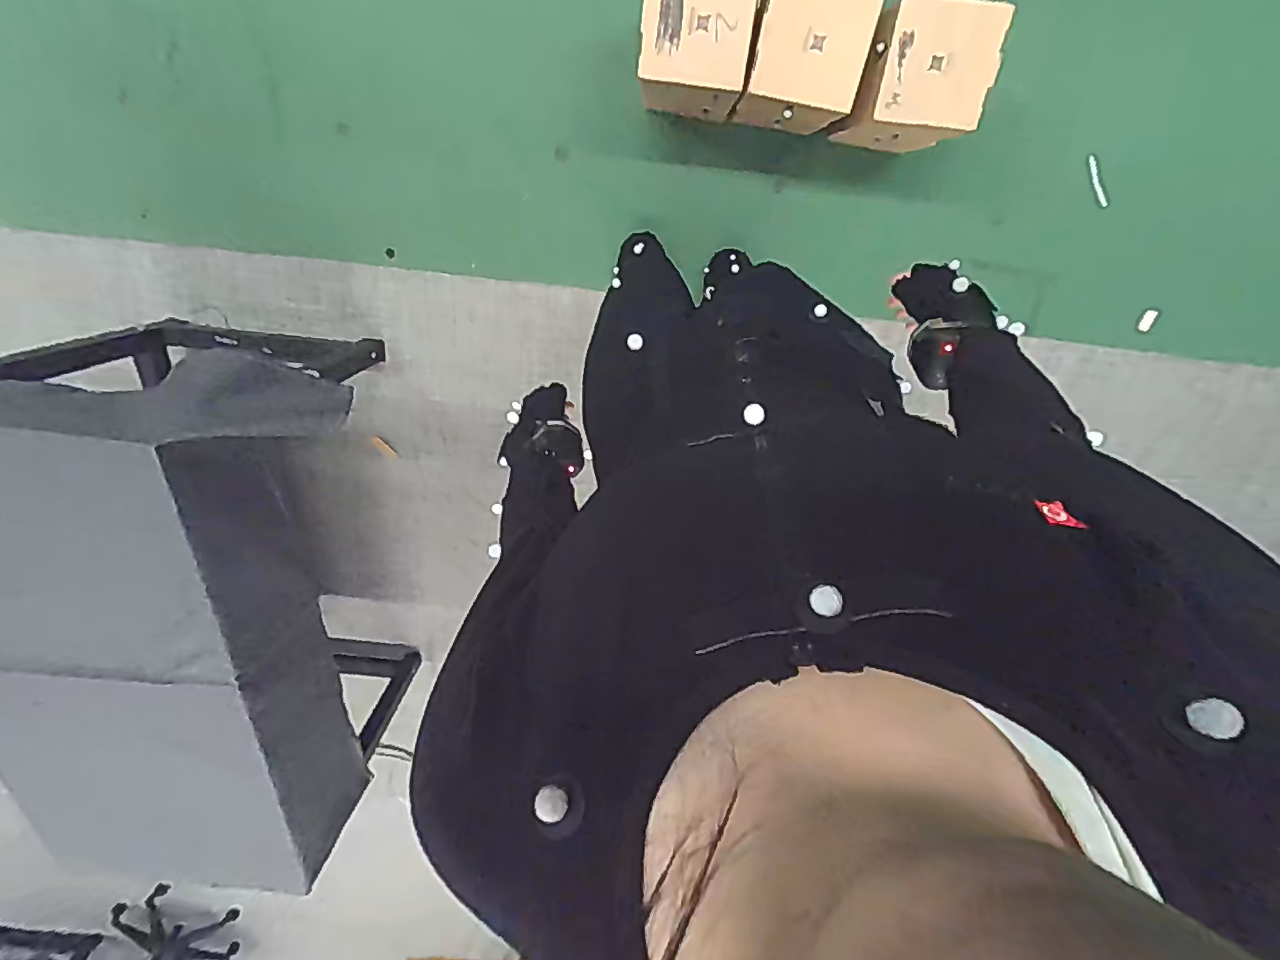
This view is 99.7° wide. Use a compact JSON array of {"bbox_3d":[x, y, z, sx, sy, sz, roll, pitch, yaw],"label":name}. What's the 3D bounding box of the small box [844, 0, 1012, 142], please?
[{"bbox_3d":[0.480,-0.694,0.934,0.179,0.176,0.168,7,117,0],"label":"small box"}]
